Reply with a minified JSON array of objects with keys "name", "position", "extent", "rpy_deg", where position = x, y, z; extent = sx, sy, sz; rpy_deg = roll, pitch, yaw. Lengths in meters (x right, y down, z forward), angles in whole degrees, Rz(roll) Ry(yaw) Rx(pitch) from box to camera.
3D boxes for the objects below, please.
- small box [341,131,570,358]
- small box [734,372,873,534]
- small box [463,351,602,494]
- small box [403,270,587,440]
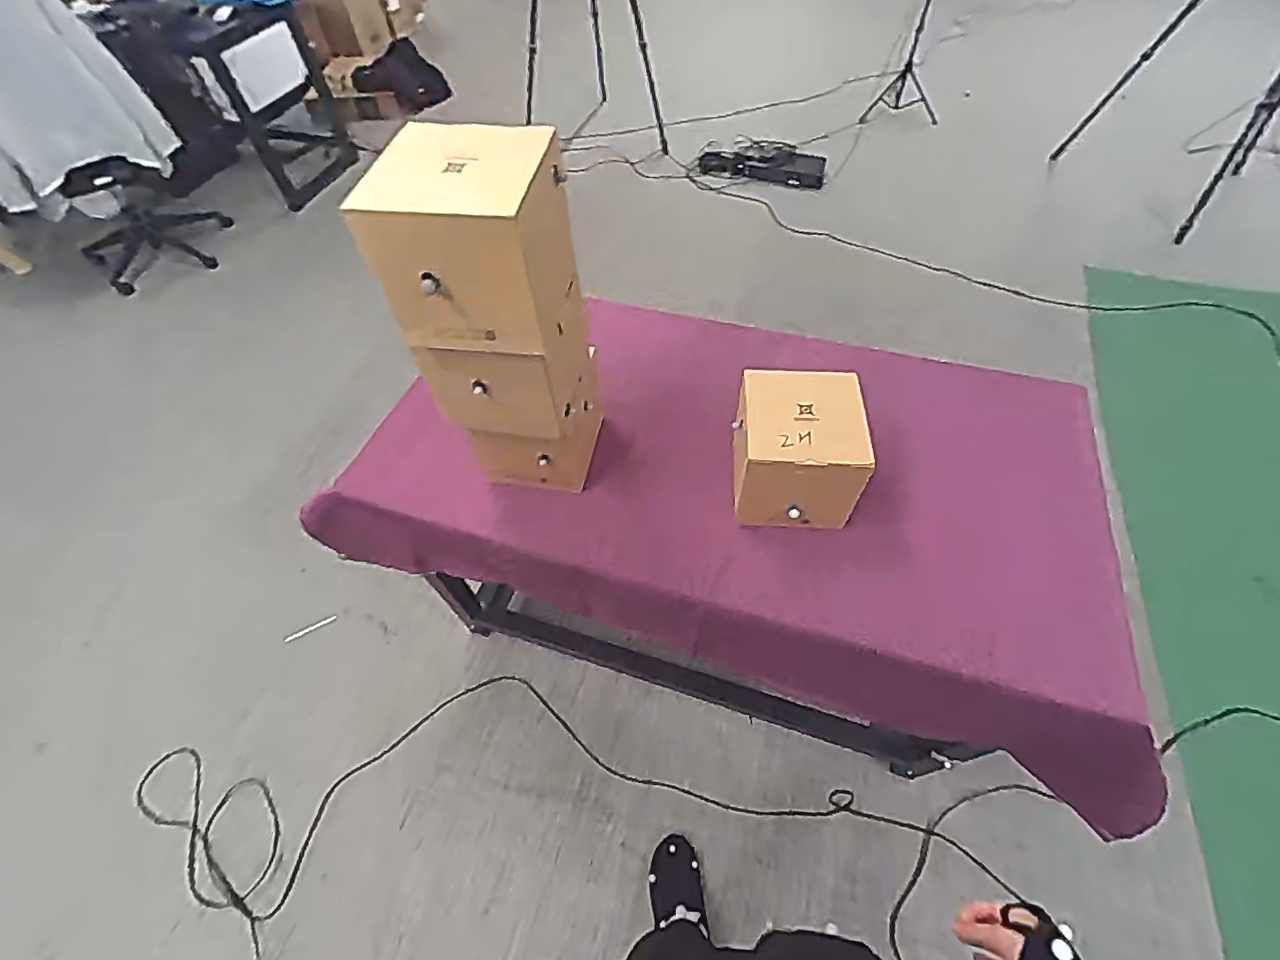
[{"name":"small box","position":[-0.179,-0.255,0.596],"extent":[0.168,0.176,0.179],"rpy_deg":[5,55,5]},{"name":"small box","position":[0.232,-0.039,0.819],"extent":[0.168,0.176,0.179],"rpy_deg":[3,55,5]},{"name":"small box","position":[-0.163,-0.098,0.884],"extent":[0.168,0.176,0.179],"rpy_deg":[9,55,8]},{"name":"small box","position":[-0.179,-0.172,0.736],"extent":[0.179,0.176,0.168],"rpy_deg":[8,56,8]}]
